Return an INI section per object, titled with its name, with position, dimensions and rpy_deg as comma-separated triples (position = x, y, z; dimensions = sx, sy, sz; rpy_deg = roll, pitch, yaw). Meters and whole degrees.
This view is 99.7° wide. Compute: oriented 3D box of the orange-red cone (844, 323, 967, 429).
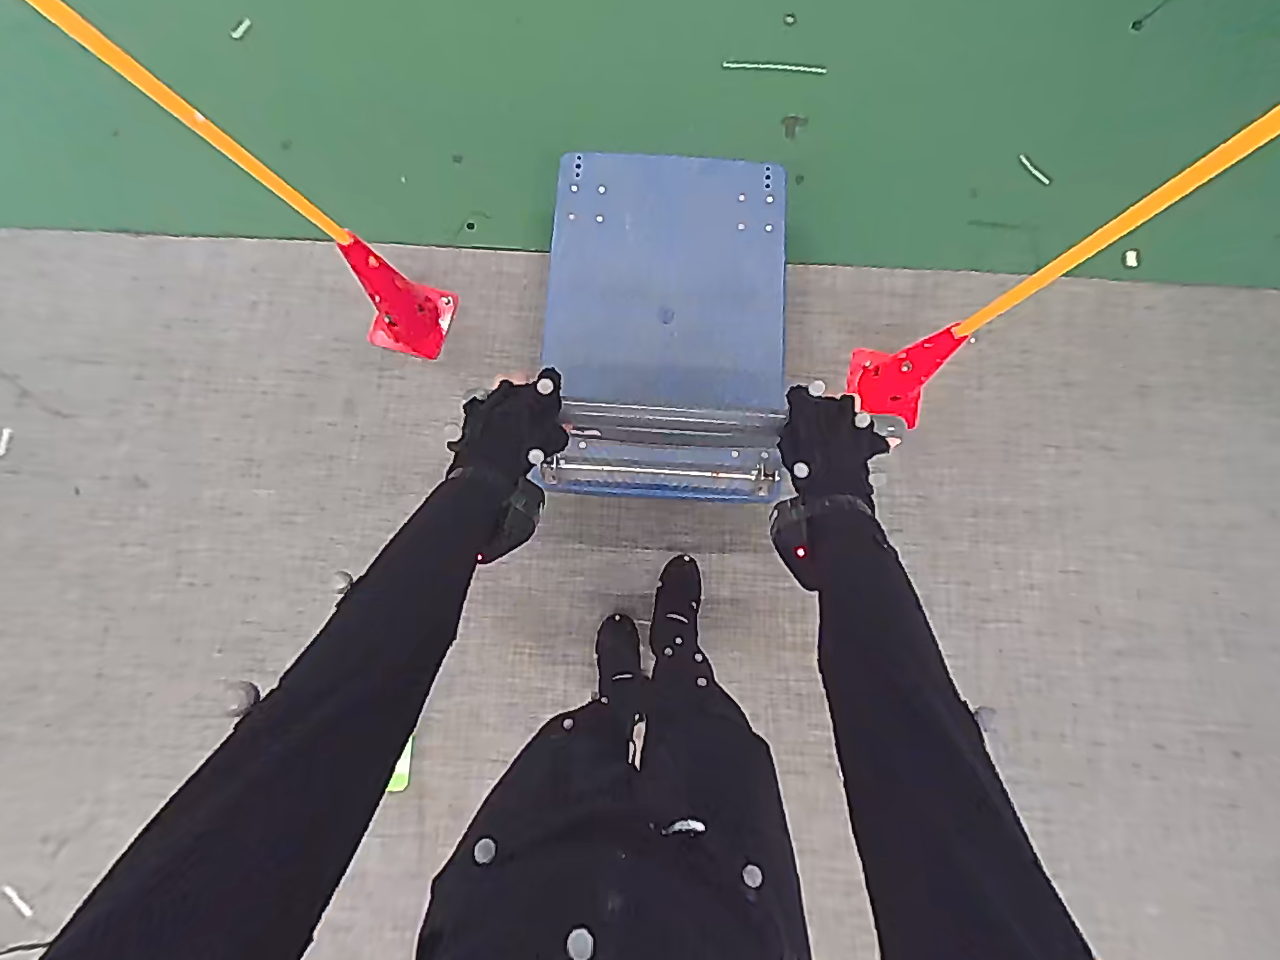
[orange-red cone]
position = 0.660, -0.275, 1.290
dimensions = 0.198, 0.360, 0.199
rpy_deg = 13, 80, 2
